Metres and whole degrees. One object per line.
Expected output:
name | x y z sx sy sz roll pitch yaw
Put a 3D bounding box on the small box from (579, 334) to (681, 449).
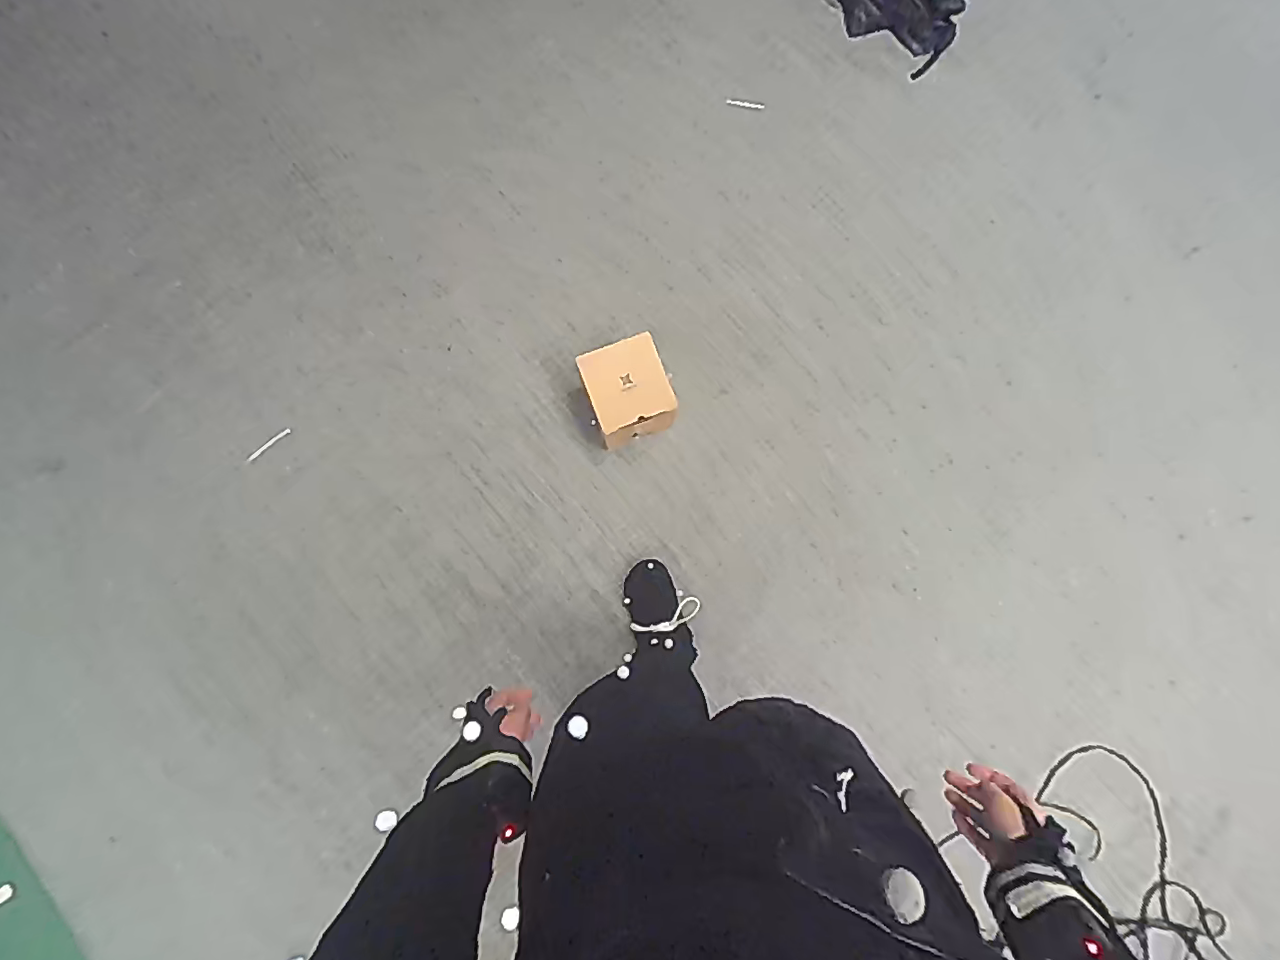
small box | -0.024 -0.185 1.176 0.168 0.176 0.179 -21 83 -4
